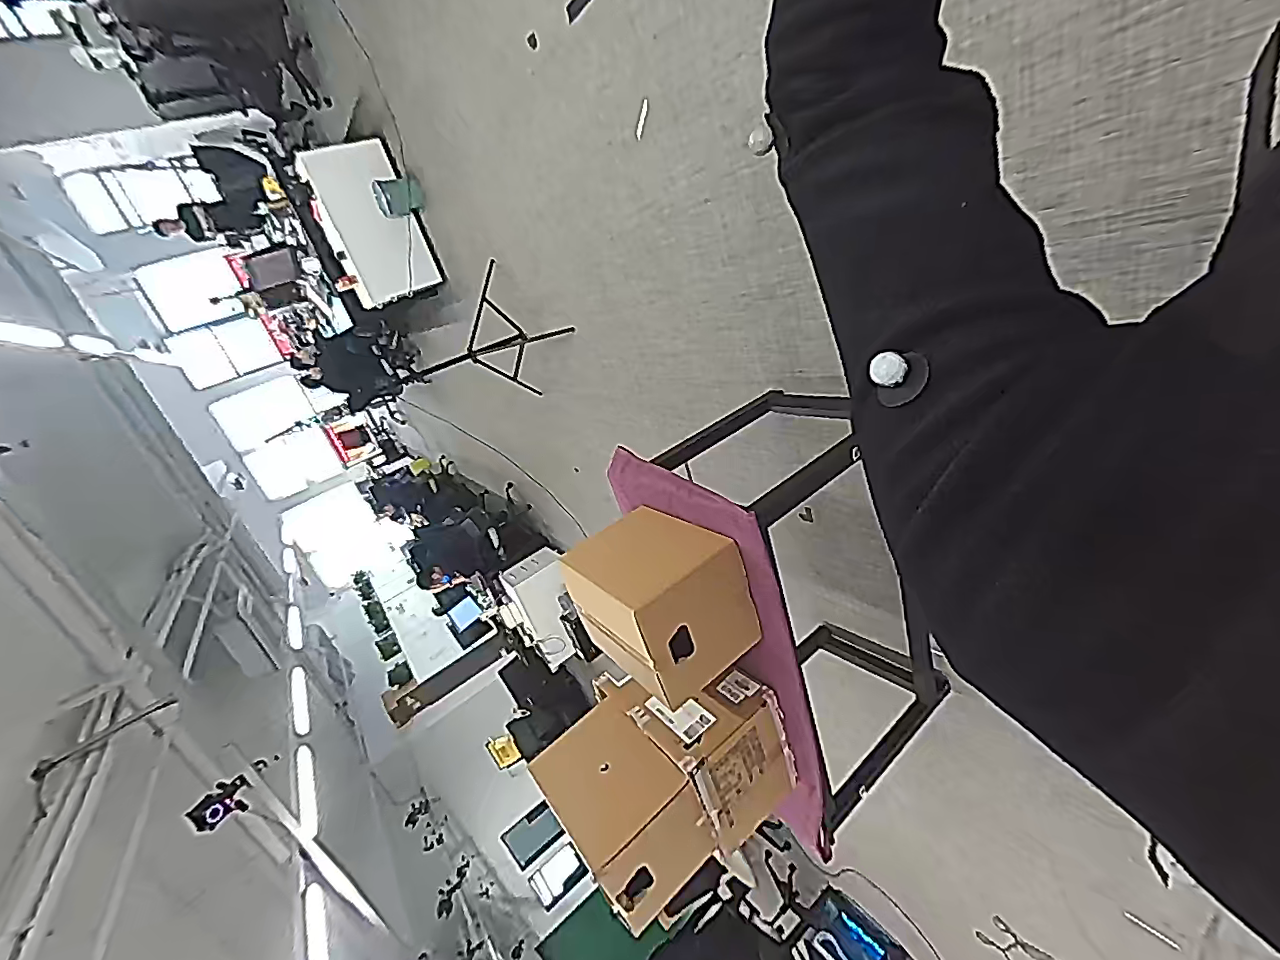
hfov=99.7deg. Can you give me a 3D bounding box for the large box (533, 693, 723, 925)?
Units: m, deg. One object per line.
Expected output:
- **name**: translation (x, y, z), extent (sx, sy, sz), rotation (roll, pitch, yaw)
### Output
- **large box**: translation (-0.039, 0.891, 1.523), extent (0.408, 0.320, 0.320), rotation (19, 137, 54)
